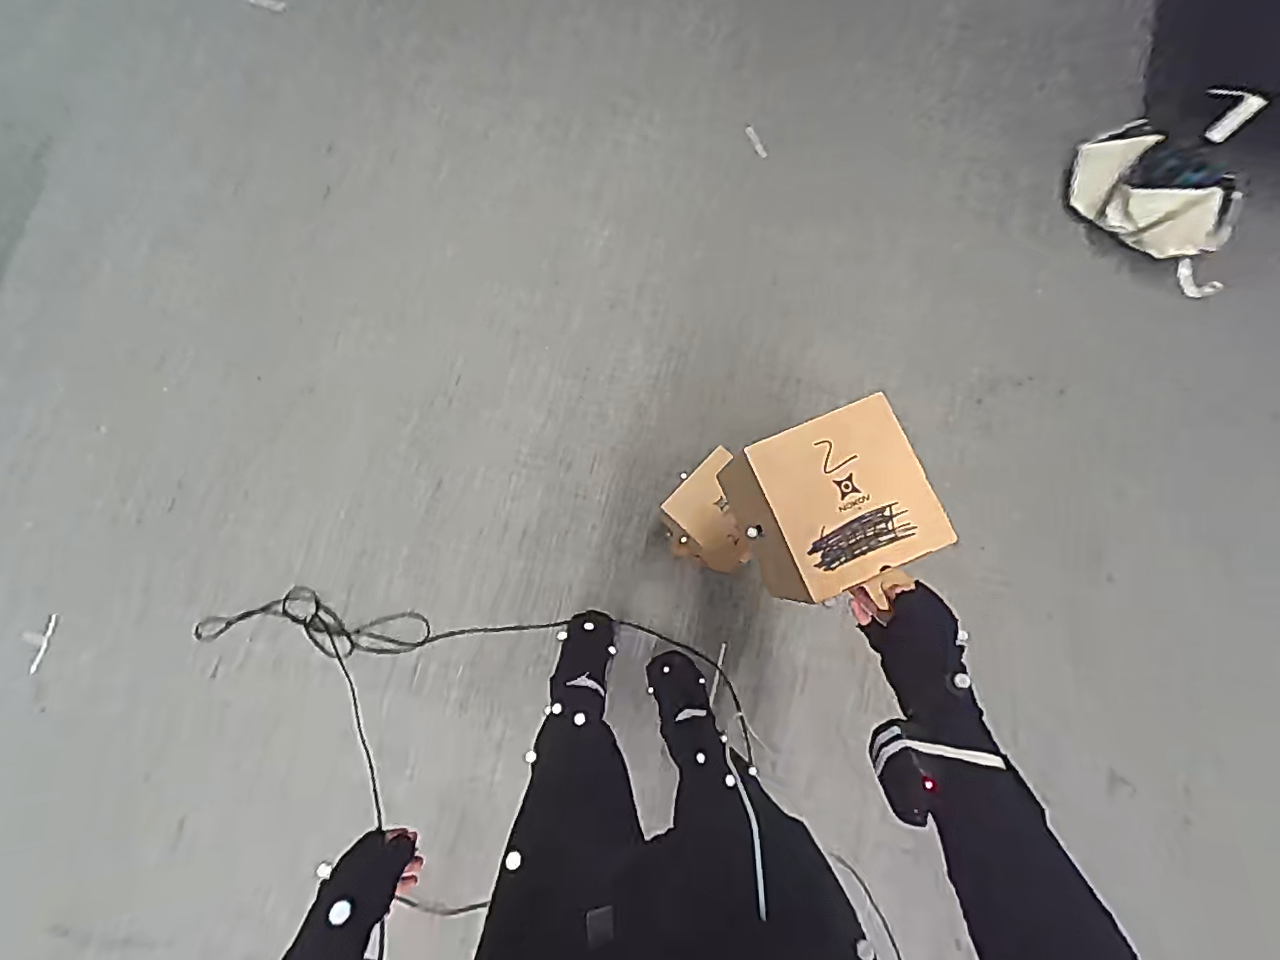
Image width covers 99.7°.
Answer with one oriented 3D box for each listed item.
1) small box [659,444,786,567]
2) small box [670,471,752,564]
[{"bbox_3d":[0.152,0.058,1.077,0.179,0.176,0.168,44,83,4],"label":"small box"},{"bbox_3d":[0.163,0.090,1.223,0.168,0.176,0.179,10,81,0],"label":"small box"}]
